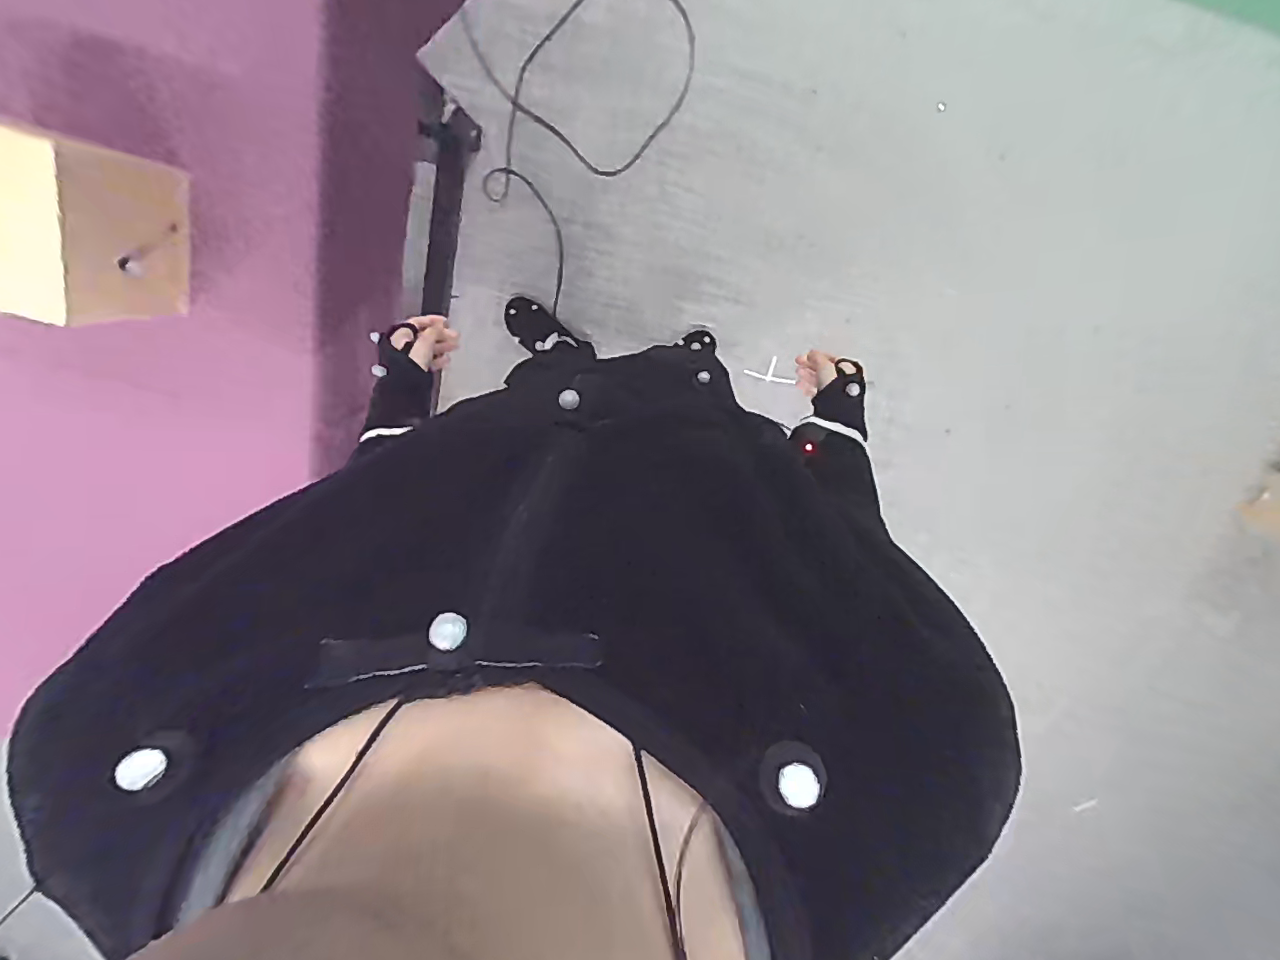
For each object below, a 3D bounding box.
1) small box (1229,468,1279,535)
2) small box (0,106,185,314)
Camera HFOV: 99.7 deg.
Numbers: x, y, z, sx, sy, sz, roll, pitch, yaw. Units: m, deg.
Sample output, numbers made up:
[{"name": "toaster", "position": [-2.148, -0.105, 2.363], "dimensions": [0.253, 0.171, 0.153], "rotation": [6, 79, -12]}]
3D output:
[{"name": "small box", "position": [1.909, 0.083, 1.567], "dimensions": [0.179, 0.176, 0.168], "rotation": [21, 107, -9]}, {"name": "small box", "position": [-0.621, -0.284, 0.563], "dimensions": [0.179, 0.176, 0.168], "rotation": [14, 109, -6]}]
